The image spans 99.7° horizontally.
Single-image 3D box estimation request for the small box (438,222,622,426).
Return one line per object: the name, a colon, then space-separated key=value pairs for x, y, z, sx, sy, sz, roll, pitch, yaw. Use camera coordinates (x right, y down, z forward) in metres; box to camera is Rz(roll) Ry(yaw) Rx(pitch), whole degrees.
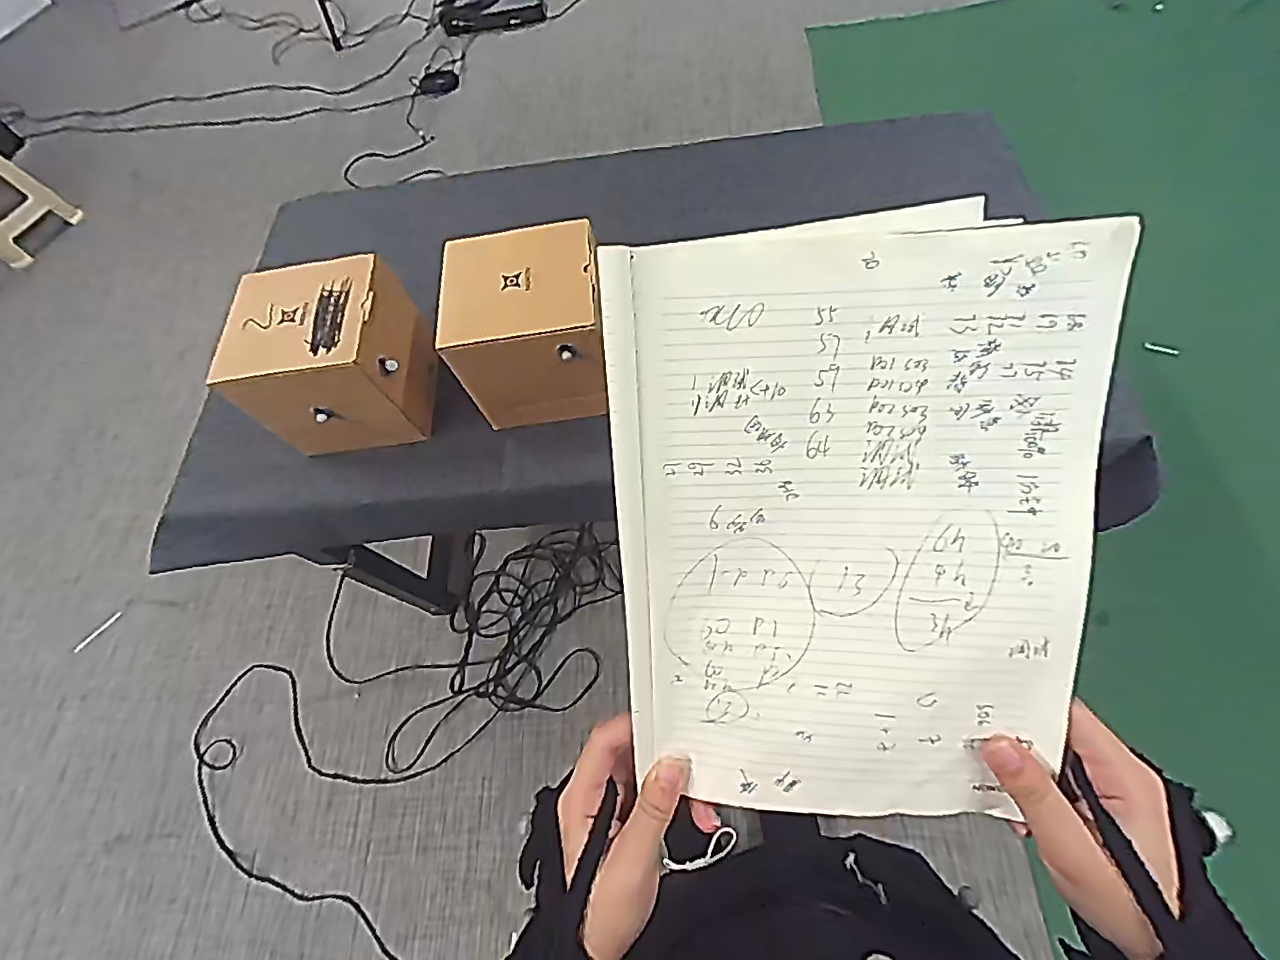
small box: x=-0.126 y=-0.183 z=0.674 sx=0.179 sy=0.176 sz=0.168 roll=-8 pitch=63 yaw=3
